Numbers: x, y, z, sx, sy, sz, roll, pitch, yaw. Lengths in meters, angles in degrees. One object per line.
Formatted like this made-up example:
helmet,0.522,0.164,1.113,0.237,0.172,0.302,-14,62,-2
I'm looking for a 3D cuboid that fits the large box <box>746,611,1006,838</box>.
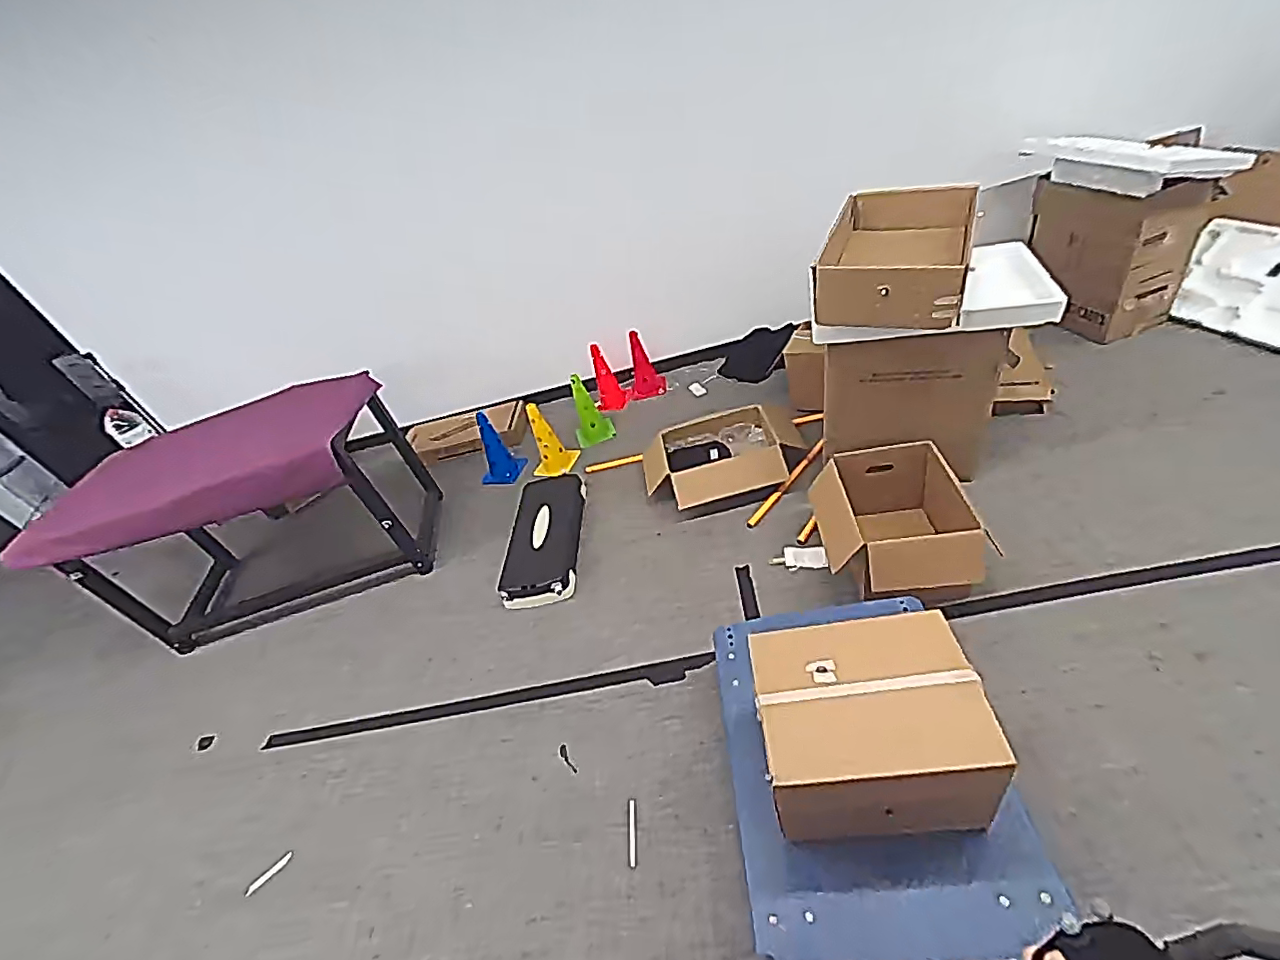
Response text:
large box,0.468,0.524,1.148,0.408,0.320,0.320,-12,38,10
